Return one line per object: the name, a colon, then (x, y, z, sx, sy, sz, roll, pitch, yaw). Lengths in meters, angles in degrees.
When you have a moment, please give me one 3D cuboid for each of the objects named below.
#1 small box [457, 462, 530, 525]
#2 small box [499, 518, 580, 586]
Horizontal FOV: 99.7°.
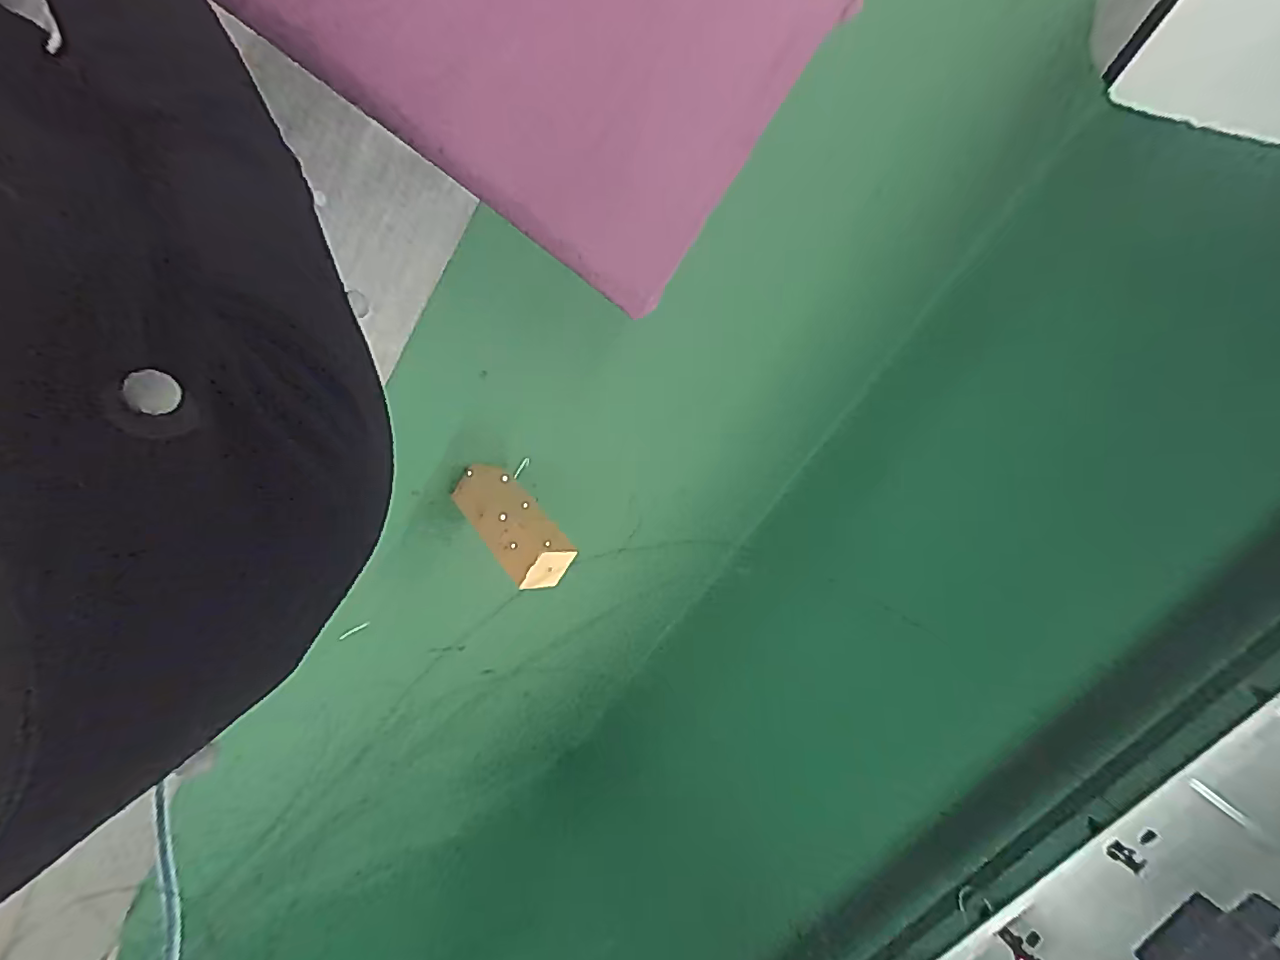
small box: (-0.555, 0.051, 2.033, 0.168, 0.176, 0.179, -54, 148, 15)
small box: (-0.349, 0.245, 1.869, 0.179, 0.176, 0.168, 8, 121, -53)
